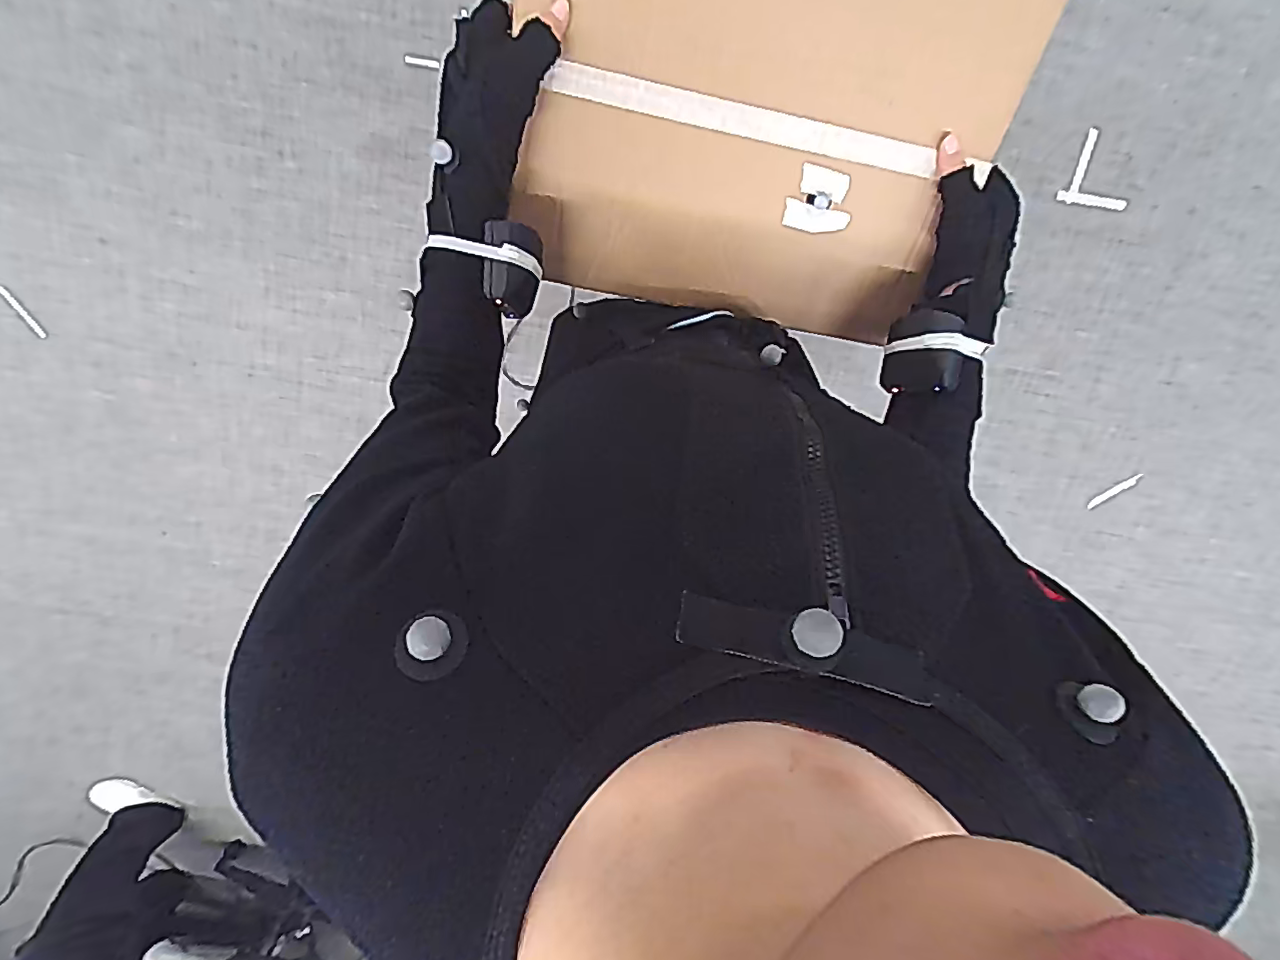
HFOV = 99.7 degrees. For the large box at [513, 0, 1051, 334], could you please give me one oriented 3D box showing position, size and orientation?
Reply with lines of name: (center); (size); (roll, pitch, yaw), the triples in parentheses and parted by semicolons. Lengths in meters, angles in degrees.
large box: (0.096, -0.382, 0.578); (0.408, 0.320, 0.320); (9, 122, -7)
